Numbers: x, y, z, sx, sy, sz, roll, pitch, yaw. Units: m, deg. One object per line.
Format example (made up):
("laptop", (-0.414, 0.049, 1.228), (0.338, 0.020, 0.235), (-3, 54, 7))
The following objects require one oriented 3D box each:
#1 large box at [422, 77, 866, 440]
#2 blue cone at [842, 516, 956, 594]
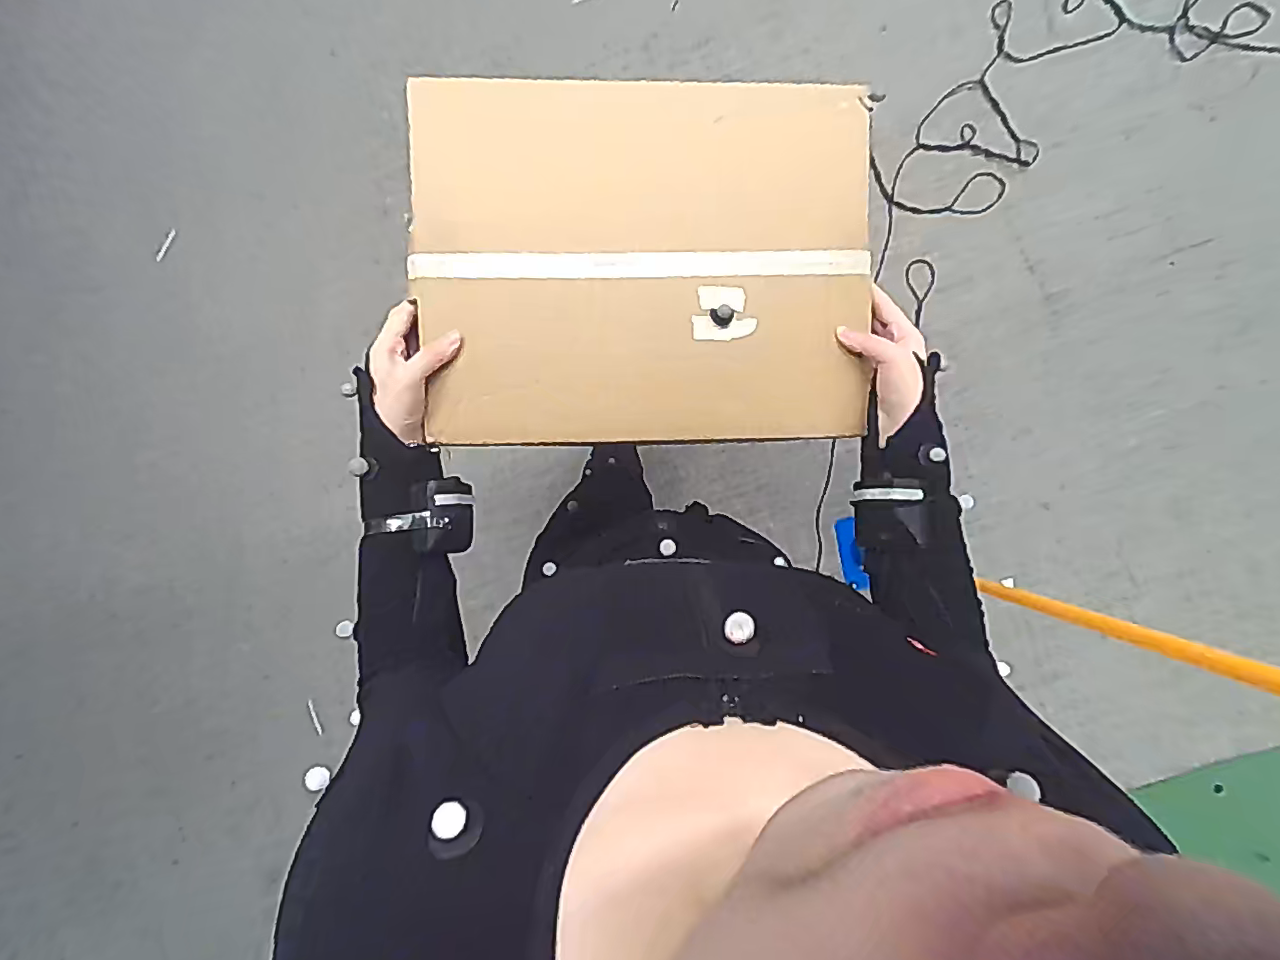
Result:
("large box", (-0.001, -0.210, 0.638), (0.408, 0.320, 0.320), (-1, 94, -4))
("blue cone", (0.641, 0.204, 1.299), (0.193, 0.380, 0.192), (-10, 91, 3))
